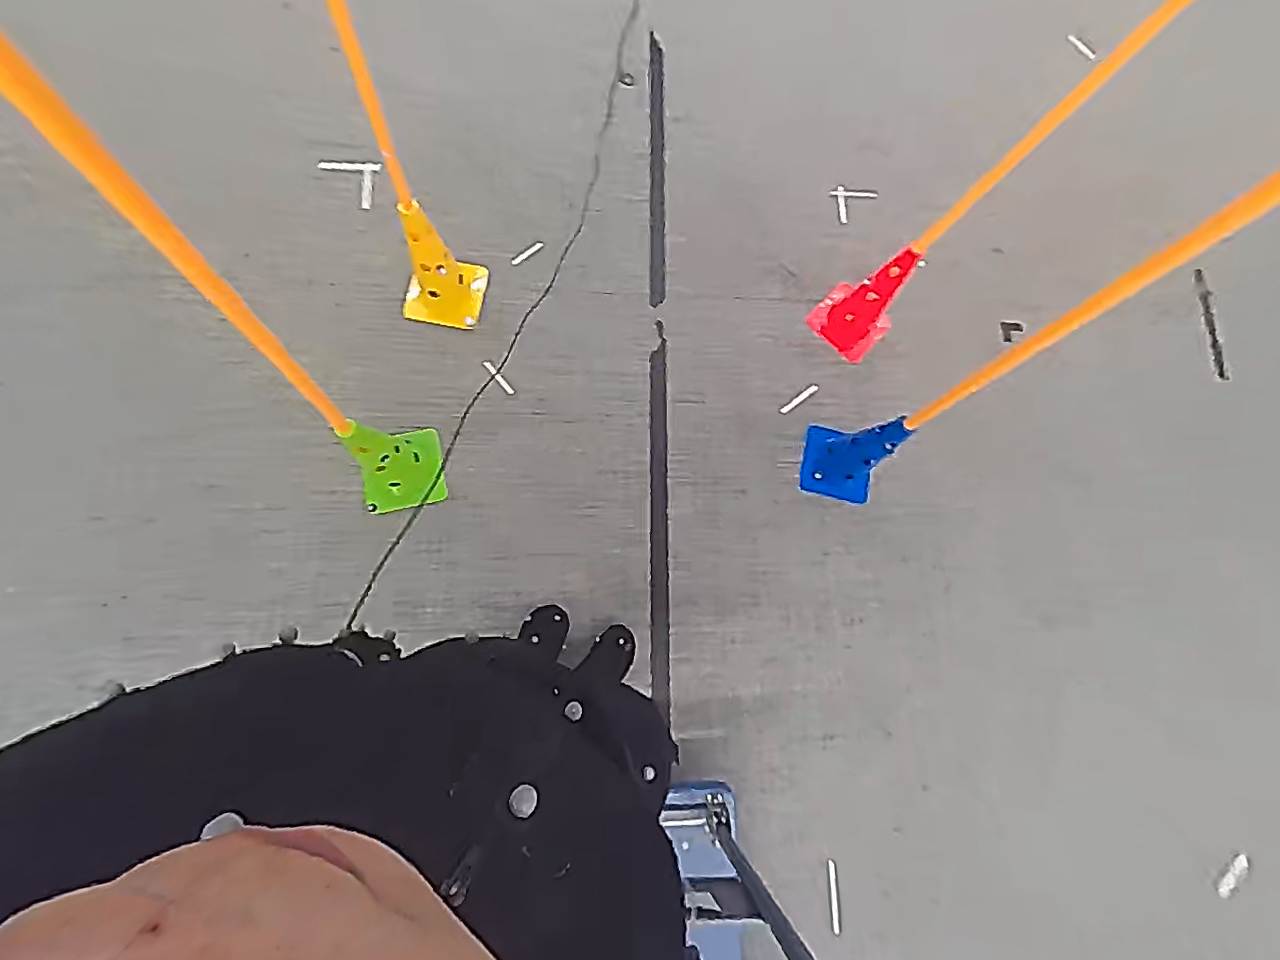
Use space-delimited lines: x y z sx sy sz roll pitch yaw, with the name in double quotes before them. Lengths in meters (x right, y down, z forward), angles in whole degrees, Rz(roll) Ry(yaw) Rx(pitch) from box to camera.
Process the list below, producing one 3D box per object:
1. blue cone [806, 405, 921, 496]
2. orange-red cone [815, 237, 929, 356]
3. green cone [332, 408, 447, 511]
"blue cone" 0.583 -0.095 1.364 0.193 0.380 0.192 15 75 -2
"orange-red cone" 0.659 -0.523 1.456 0.198 0.360 0.199 45 78 6
"green cone" -0.591 -0.074 1.224 0.200 0.368 0.202 -13 77 -9
